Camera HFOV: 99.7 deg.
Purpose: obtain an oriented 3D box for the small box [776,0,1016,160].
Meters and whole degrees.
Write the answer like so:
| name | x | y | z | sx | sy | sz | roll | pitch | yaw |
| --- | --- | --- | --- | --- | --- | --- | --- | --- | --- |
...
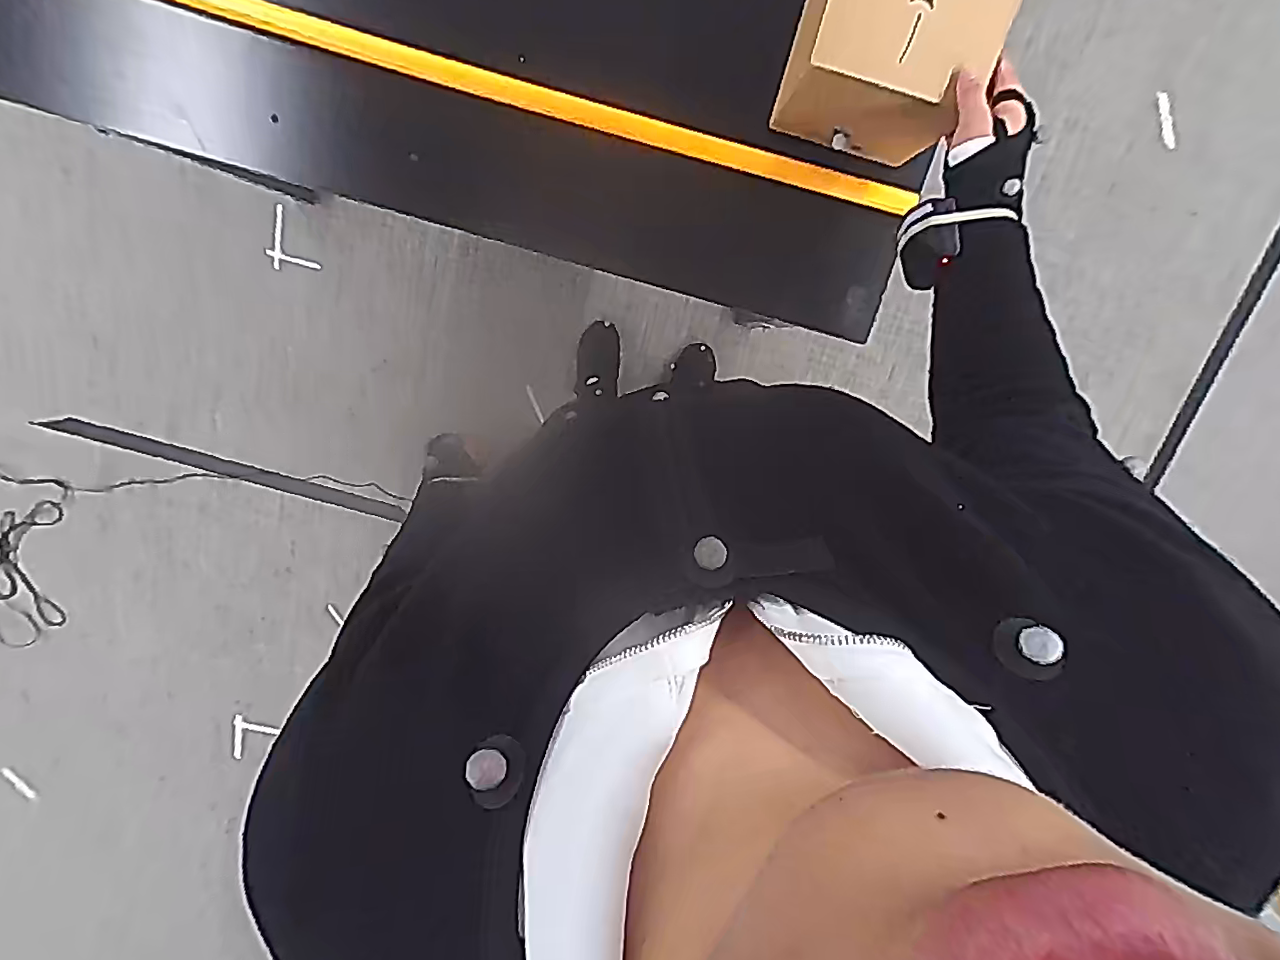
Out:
| name | x | y | z | sx | sy | sz | roll | pitch | yaw |
| --- | --- | --- | --- | --- | --- | --- | --- | --- | --- |
| small box | 0.255 | -0.465 | 0.553 | 0.168 | 0.176 | 0.179 | 15 | 105 | -3 |
